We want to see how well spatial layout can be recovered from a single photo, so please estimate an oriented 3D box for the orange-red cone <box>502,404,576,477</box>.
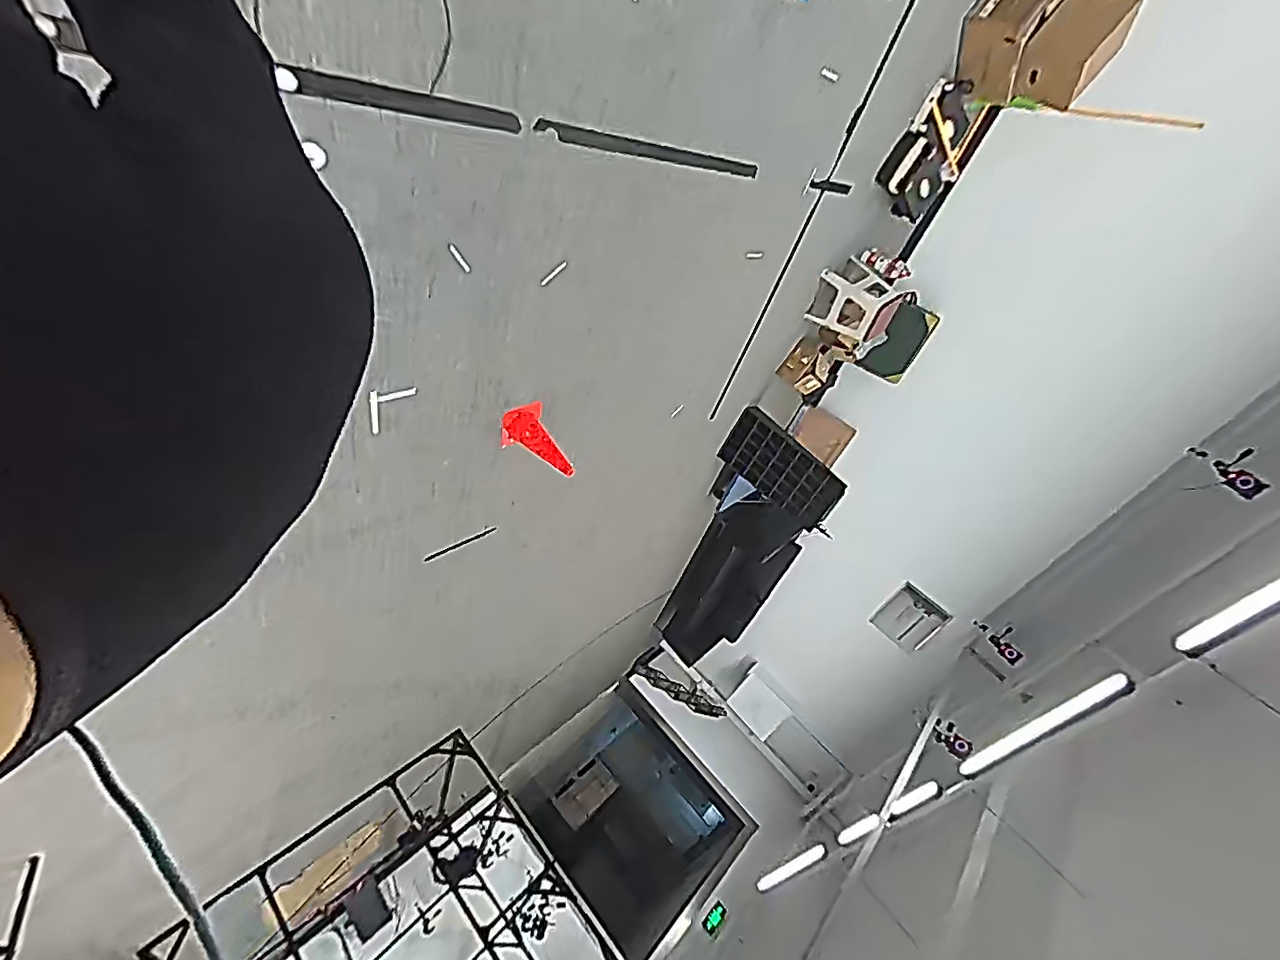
[{"bbox_3d":[-0.400,-0.136,2.314,0.199,0.360,0.198,-29,152,-40],"label":"orange-red cone"}]
